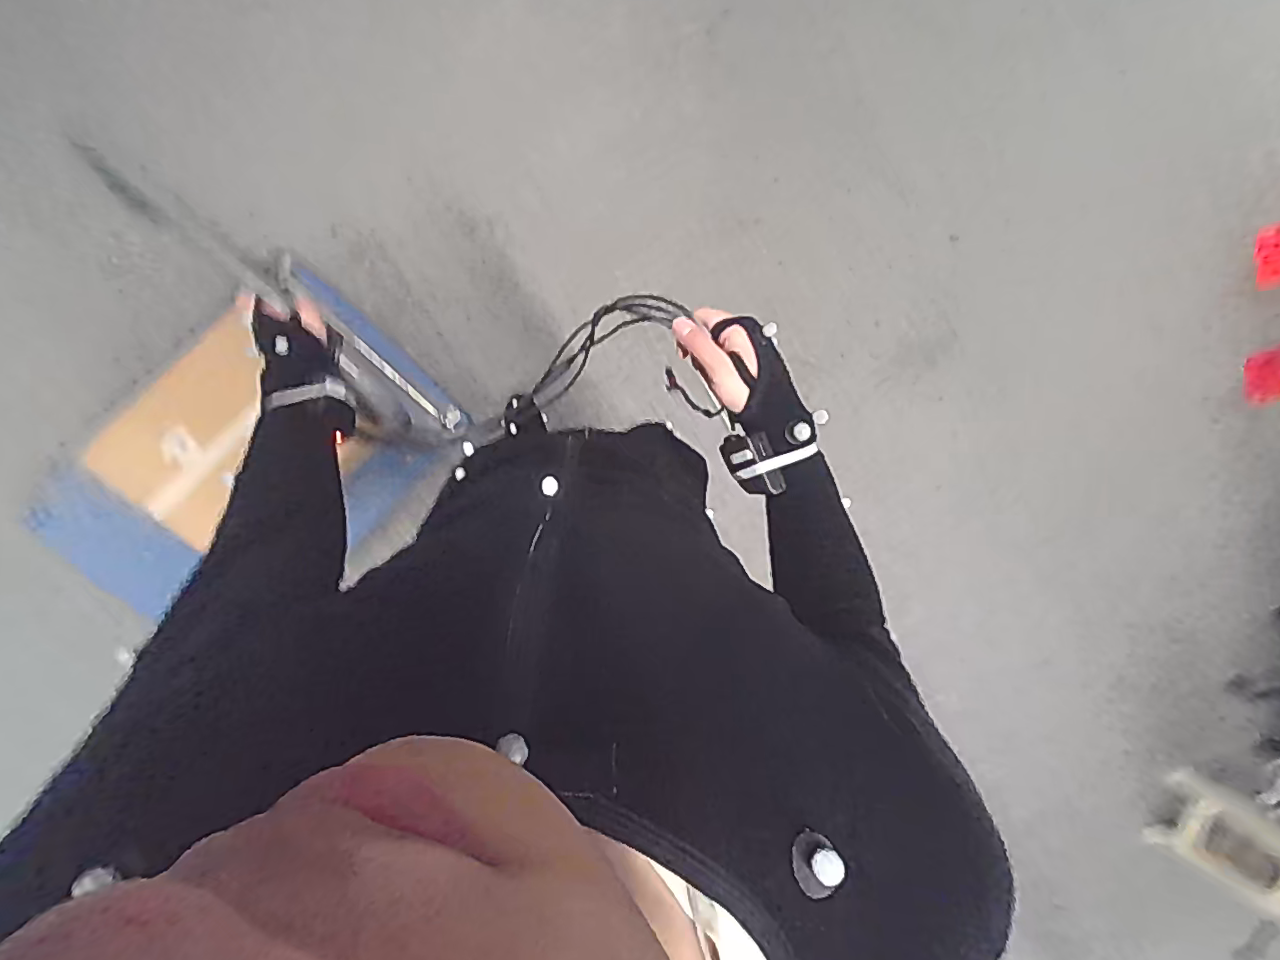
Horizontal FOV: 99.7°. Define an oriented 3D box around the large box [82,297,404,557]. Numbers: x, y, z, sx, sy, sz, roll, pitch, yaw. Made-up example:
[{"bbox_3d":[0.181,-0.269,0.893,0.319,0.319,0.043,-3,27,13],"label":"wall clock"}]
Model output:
[{"bbox_3d":[-0.788,-0.118,1.152,0.408,0.320,0.320,-44,105,-2],"label":"large box"}]
